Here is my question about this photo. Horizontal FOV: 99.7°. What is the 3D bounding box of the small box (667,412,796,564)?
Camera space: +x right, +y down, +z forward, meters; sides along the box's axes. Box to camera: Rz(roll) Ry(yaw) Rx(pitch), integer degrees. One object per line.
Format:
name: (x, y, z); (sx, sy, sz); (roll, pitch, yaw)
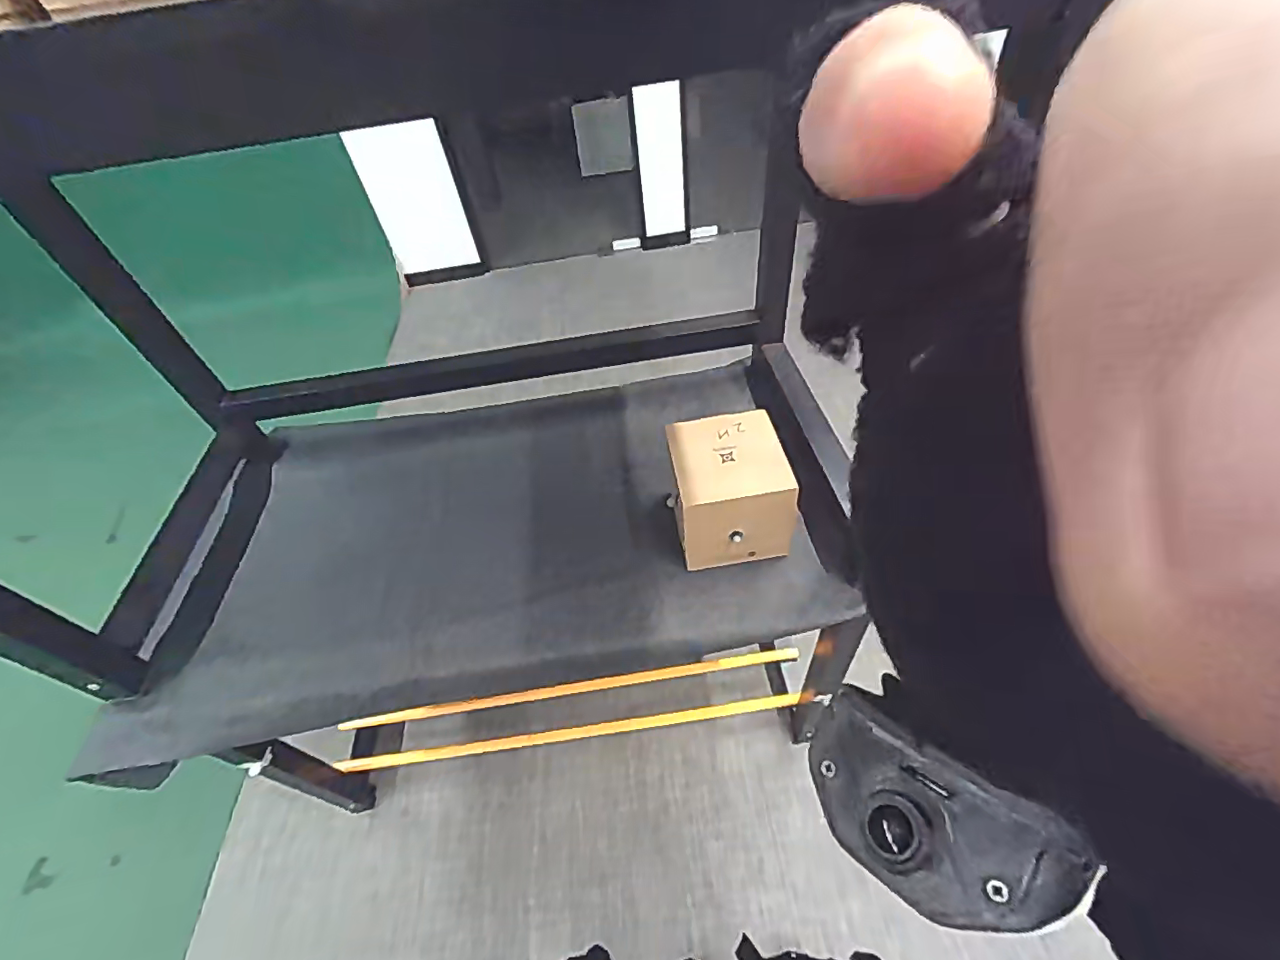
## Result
small box: (0.140, 0.019, 0.868); (0.168, 0.176, 0.179); (-9, 47, 0)
